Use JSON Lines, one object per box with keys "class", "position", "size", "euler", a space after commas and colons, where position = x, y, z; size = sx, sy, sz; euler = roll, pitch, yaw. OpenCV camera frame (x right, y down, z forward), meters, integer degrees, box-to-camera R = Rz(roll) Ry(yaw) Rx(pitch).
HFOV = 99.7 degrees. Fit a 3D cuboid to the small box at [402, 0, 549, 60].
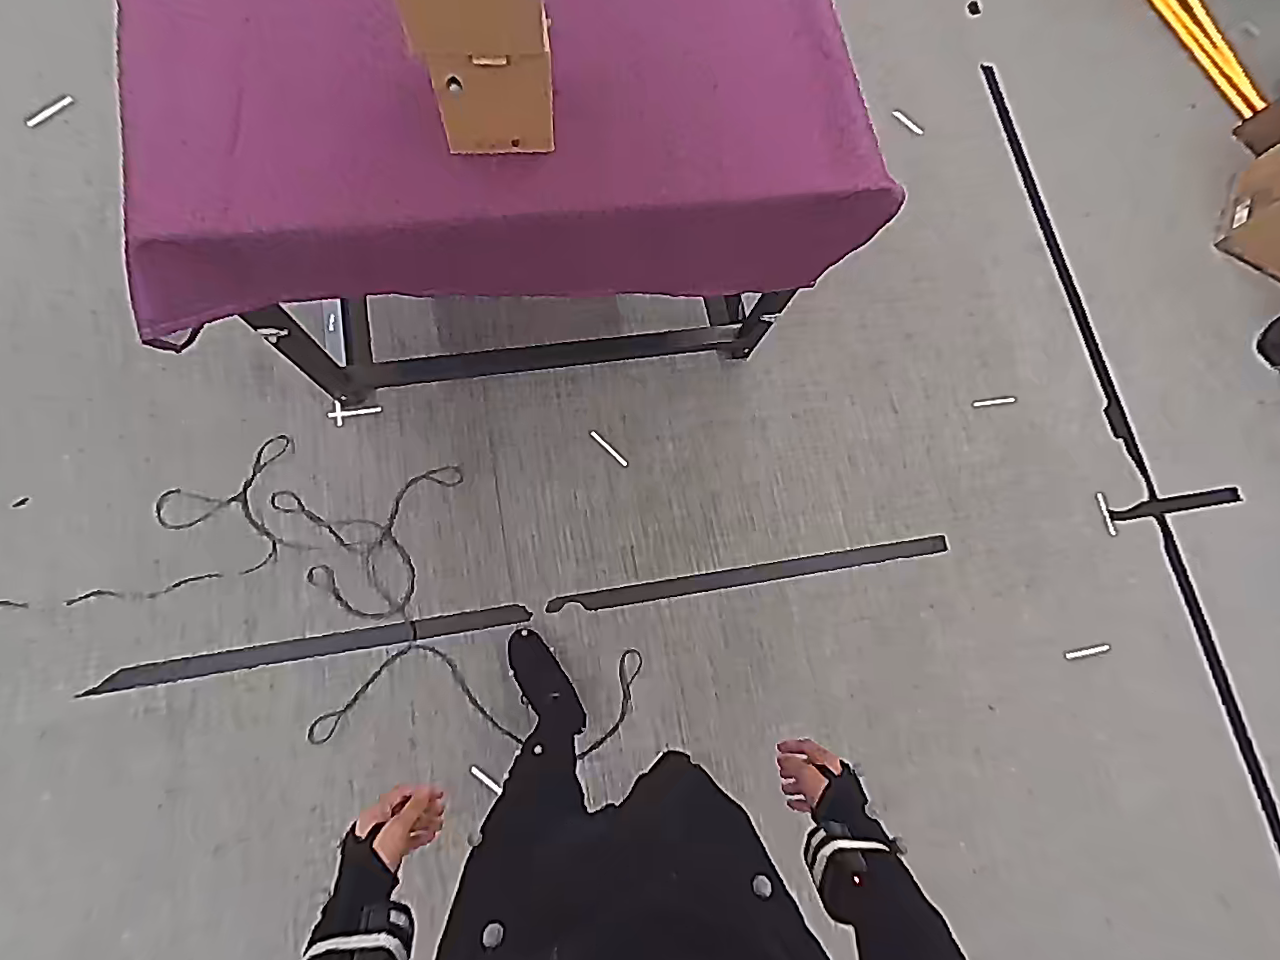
{"class": "small box", "position": [-0.208, -0.654, 0.657], "size": [0.179, 0.176, 0.168], "euler": [-6, 78, -9]}
